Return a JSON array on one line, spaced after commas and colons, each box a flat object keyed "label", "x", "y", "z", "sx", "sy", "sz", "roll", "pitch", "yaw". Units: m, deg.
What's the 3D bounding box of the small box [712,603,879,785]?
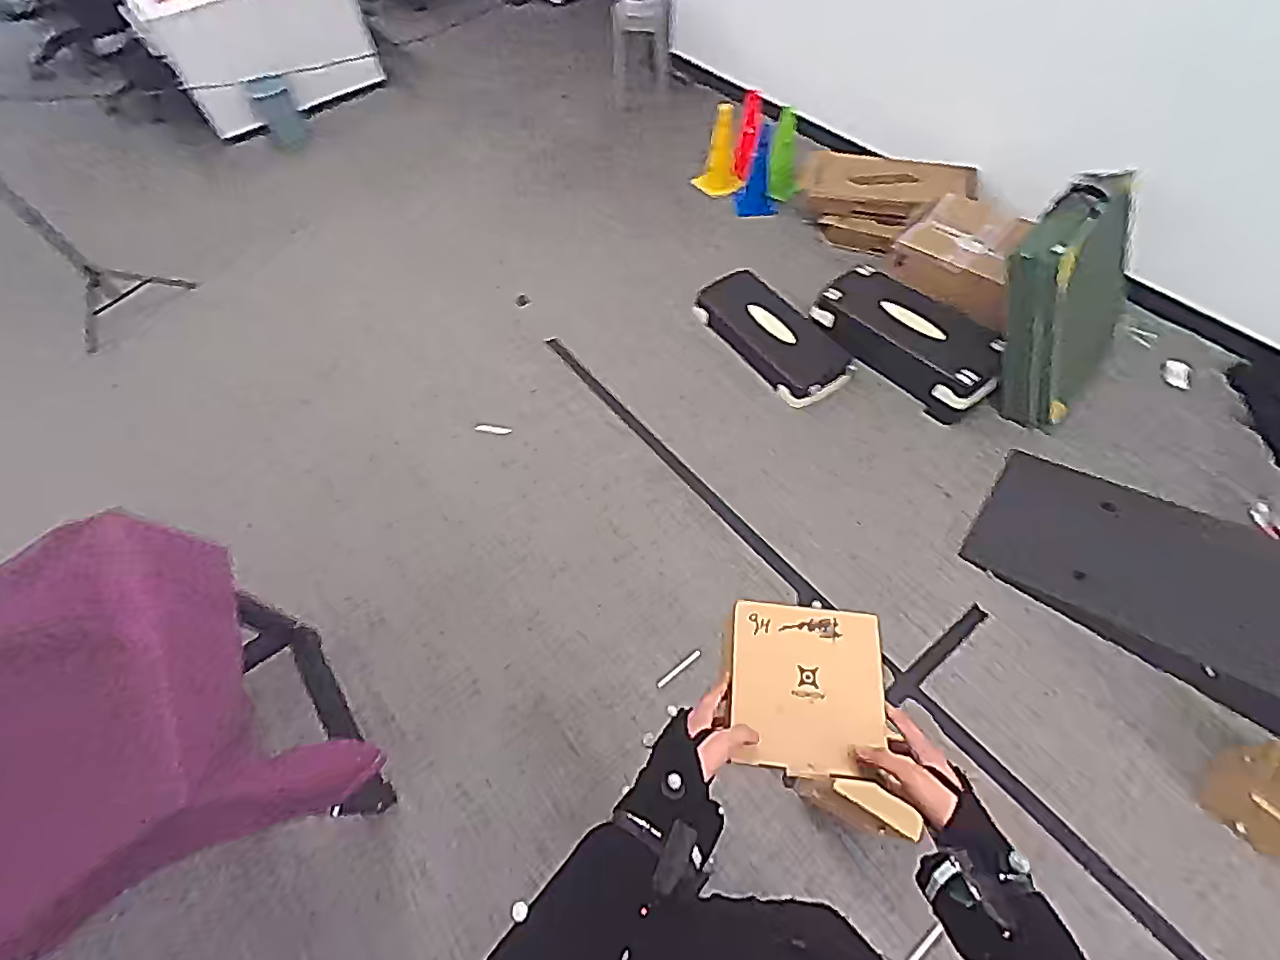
[{"label": "small box", "x": 0.180, "y": 0.265, "z": 0.673, "sx": 0.168, "sy": 0.176, "sz": 0.179, "roll": 5, "pitch": 64, "yaw": 4}]
